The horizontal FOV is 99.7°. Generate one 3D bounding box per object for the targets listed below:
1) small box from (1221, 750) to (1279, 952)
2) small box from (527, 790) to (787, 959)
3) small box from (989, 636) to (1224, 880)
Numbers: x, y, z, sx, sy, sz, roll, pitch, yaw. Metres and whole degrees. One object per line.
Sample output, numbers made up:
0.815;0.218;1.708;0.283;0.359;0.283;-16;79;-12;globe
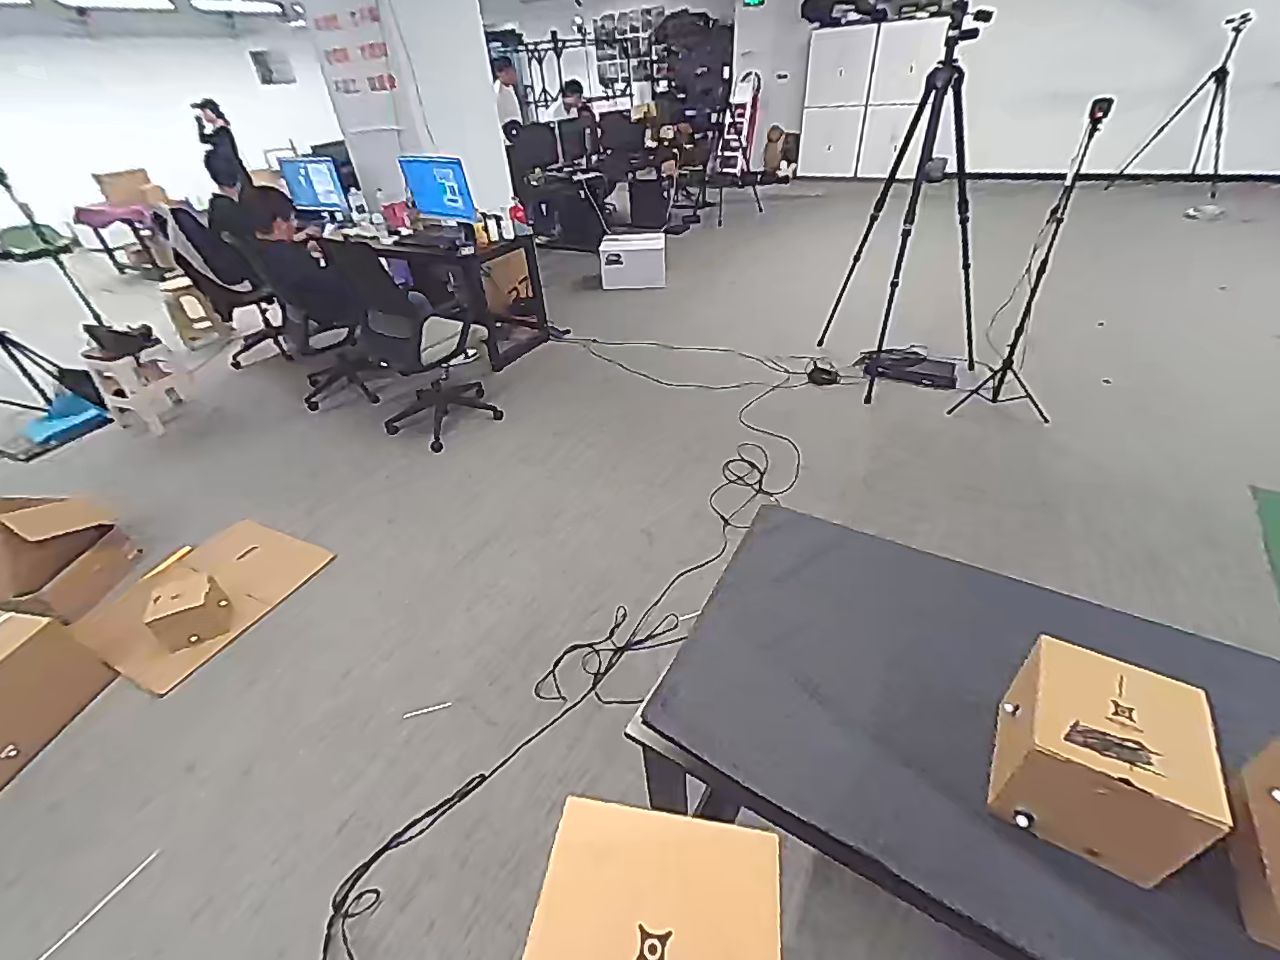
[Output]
0.758;0.400;0.554;0.168;0.176;0.179;17;41;27;small box
0.012;0.367;0.394;0.168;0.176;0.179;5;38;9;small box
0.551;0.337;0.663;0.168;0.176;0.179;19;41;28;small box
